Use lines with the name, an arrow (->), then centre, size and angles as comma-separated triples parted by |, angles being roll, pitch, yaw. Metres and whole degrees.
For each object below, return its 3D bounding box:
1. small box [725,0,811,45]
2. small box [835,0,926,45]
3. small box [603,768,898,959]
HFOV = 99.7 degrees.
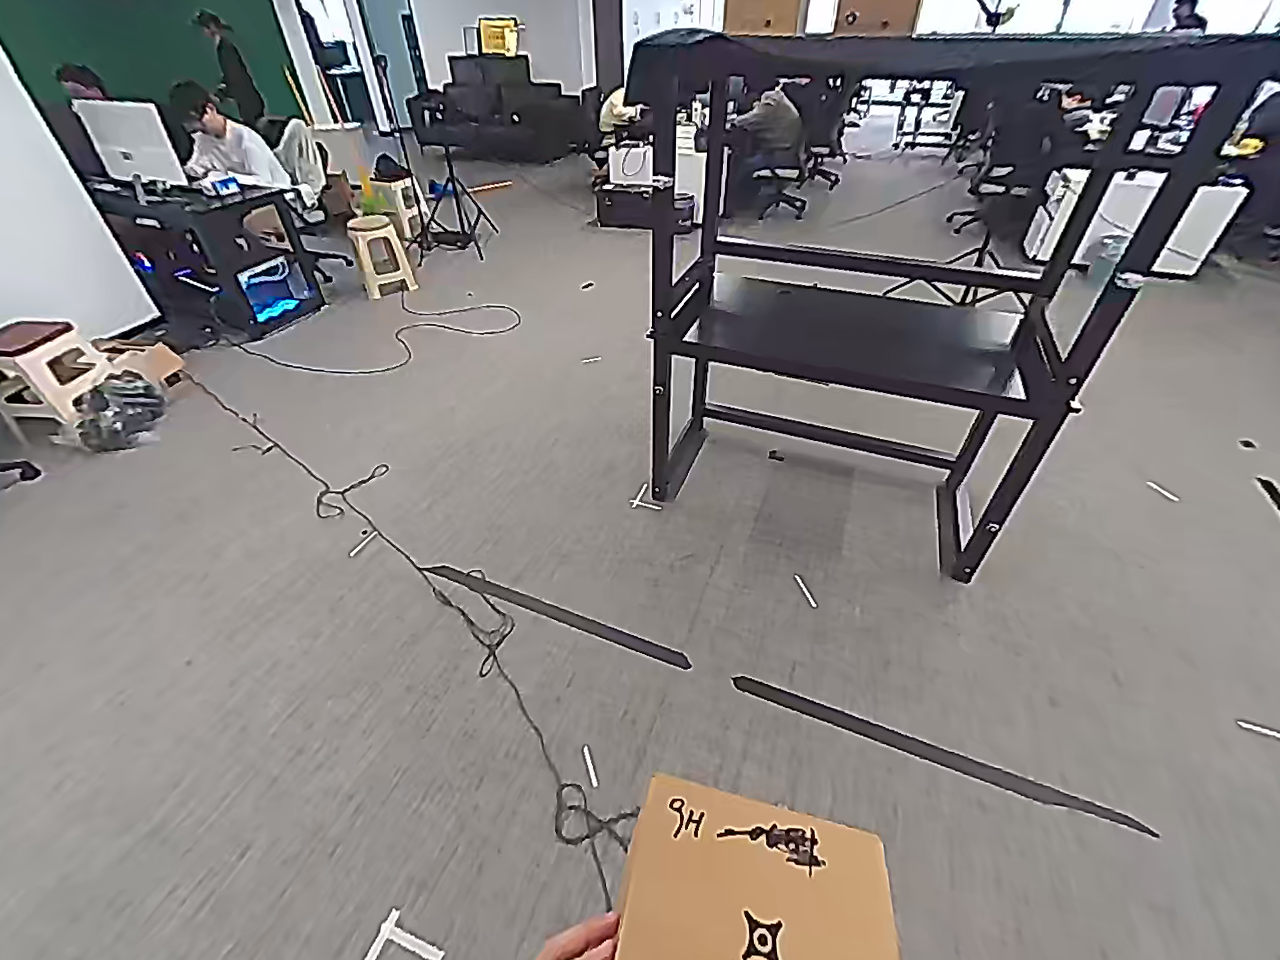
small box -> 0.295, -1.095, 1.219 | 0.168, 0.176, 0.179 | 15, 40, 16
small box -> 0.529, -1.053, 1.166 | 0.168, 0.176, 0.179 | 15, 40, 18
small box -> 0.059, 0.337, 0.361 | 0.168, 0.176, 0.179 | 13, 37, 6
